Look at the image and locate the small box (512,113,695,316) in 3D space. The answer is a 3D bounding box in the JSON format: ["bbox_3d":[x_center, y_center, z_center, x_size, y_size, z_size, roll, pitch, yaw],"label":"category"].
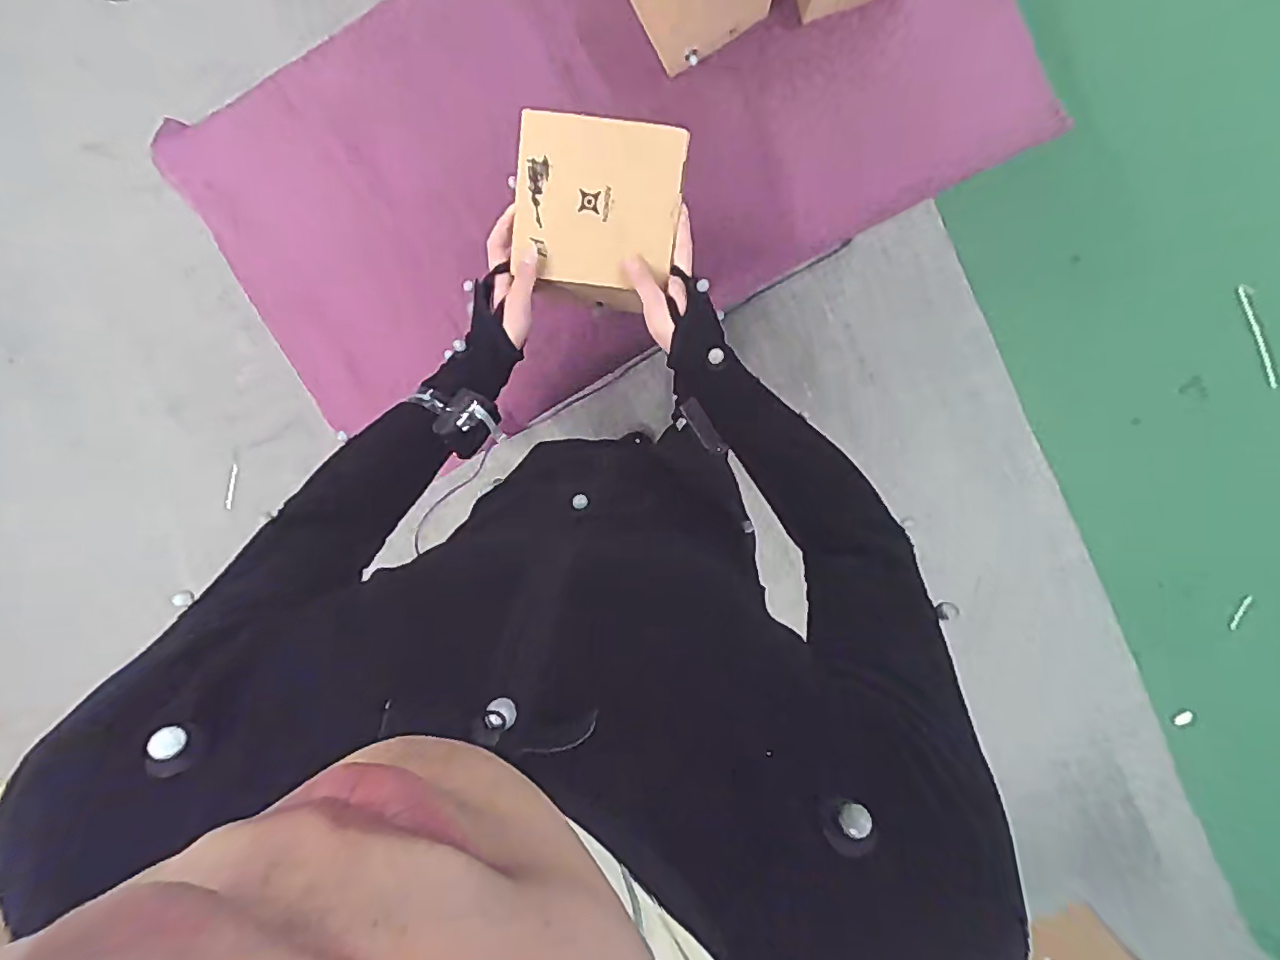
[{"bbox_3d":[-0.040,-0.297,0.645,0.179,0.176,0.168,8,100,-1],"label":"small box"}]
